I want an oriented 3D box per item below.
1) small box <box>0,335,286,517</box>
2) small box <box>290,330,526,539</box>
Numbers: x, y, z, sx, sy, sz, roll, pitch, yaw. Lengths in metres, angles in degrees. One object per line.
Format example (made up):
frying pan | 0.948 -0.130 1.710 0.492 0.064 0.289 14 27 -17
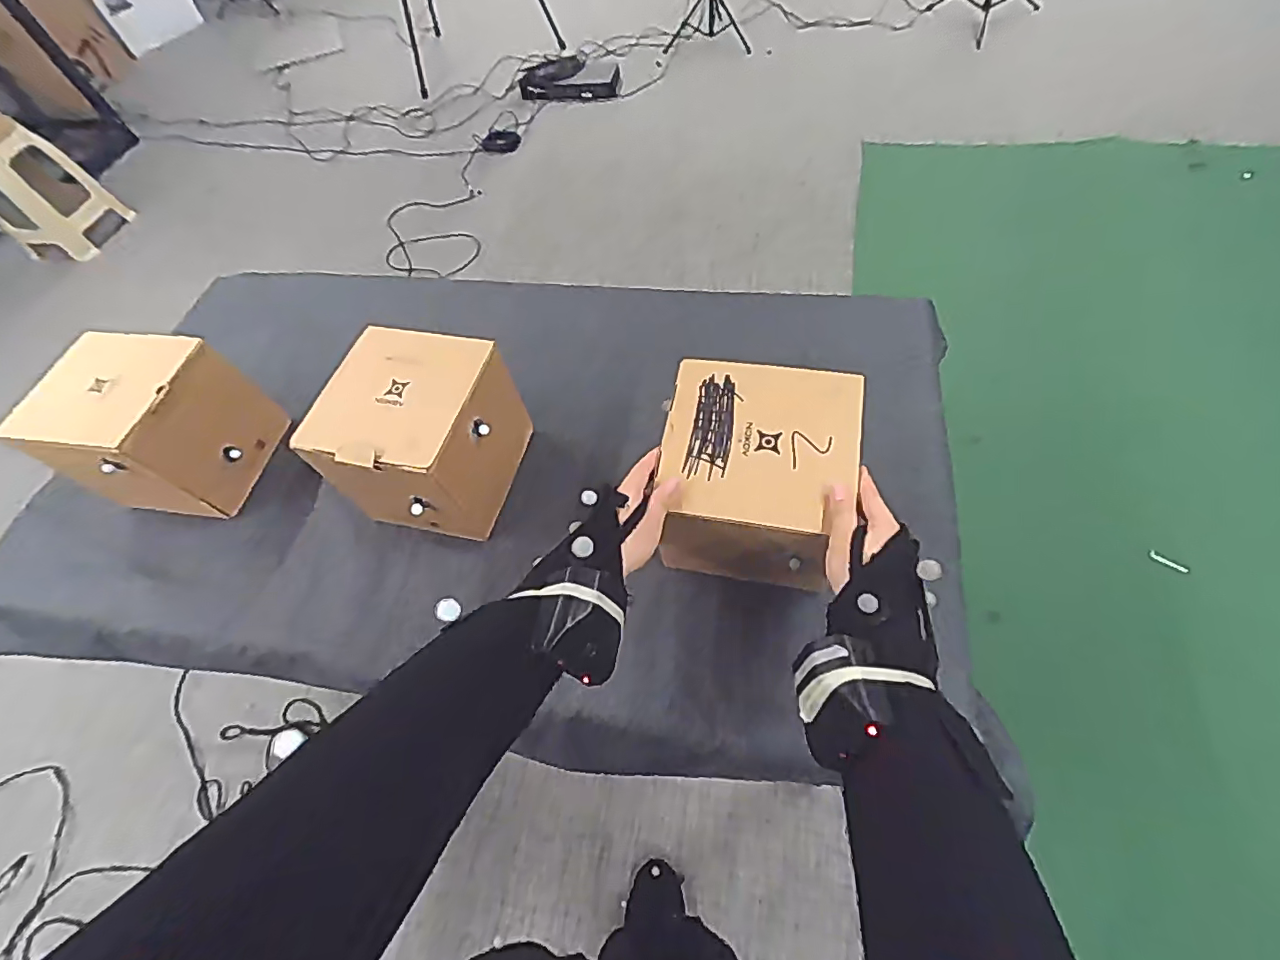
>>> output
small box | -0.615 -0.065 0.695 0.179 0.176 0.168 5 60 9
small box | -0.252 -0.049 0.642 0.168 0.176 0.179 10 60 11
